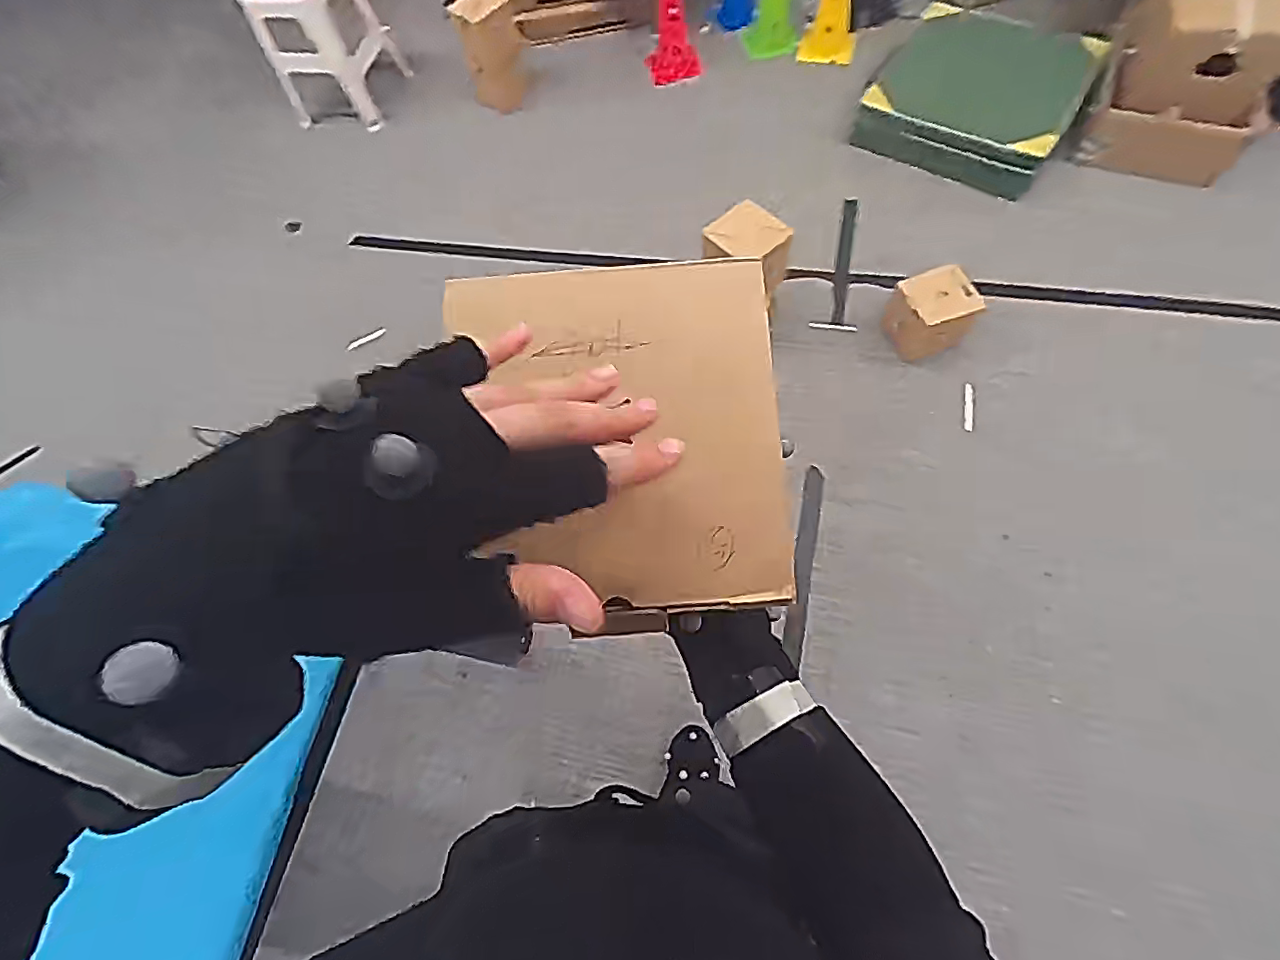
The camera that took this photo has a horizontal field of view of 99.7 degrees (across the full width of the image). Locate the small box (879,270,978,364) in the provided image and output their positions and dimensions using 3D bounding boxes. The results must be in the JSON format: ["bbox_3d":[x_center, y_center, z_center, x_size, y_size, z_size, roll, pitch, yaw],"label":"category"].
[{"bbox_3d":[0.810,-0.460,1.547,0.179,0.176,0.168,-18,68,-1],"label":"small box"}]

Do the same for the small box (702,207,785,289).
[{"bbox_3d":[0.280,-0.601,1.482,0.168,0.176,0.179,-40,68,-10],"label":"small box"}]

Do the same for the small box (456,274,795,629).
[{"bbox_3d":[-0.006,-0.005,0.348,0.168,0.176,0.179,-3,80,2],"label":"small box"}]
